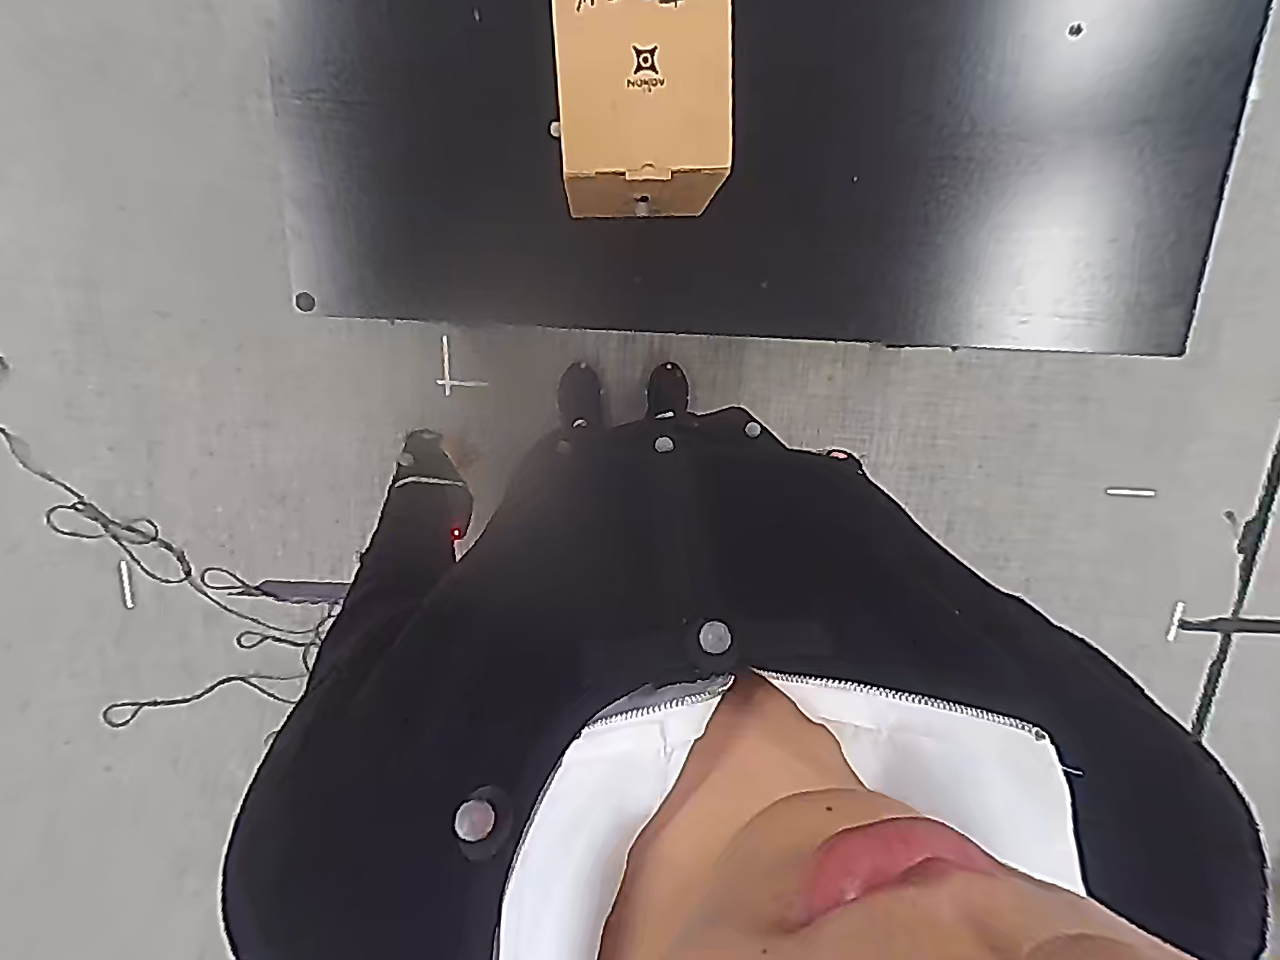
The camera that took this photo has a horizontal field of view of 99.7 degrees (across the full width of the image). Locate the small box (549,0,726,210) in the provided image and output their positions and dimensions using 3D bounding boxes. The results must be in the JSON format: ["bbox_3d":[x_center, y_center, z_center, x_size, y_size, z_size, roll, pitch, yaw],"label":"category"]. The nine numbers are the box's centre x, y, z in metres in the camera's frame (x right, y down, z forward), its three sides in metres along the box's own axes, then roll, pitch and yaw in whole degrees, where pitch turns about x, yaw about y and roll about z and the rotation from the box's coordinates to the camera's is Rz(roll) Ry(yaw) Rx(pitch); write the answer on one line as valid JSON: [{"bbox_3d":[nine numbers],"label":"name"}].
[{"bbox_3d":[-0.003,-0.403,0.587,0.168,0.176,0.179,-3,103,-3],"label":"small box"}]
